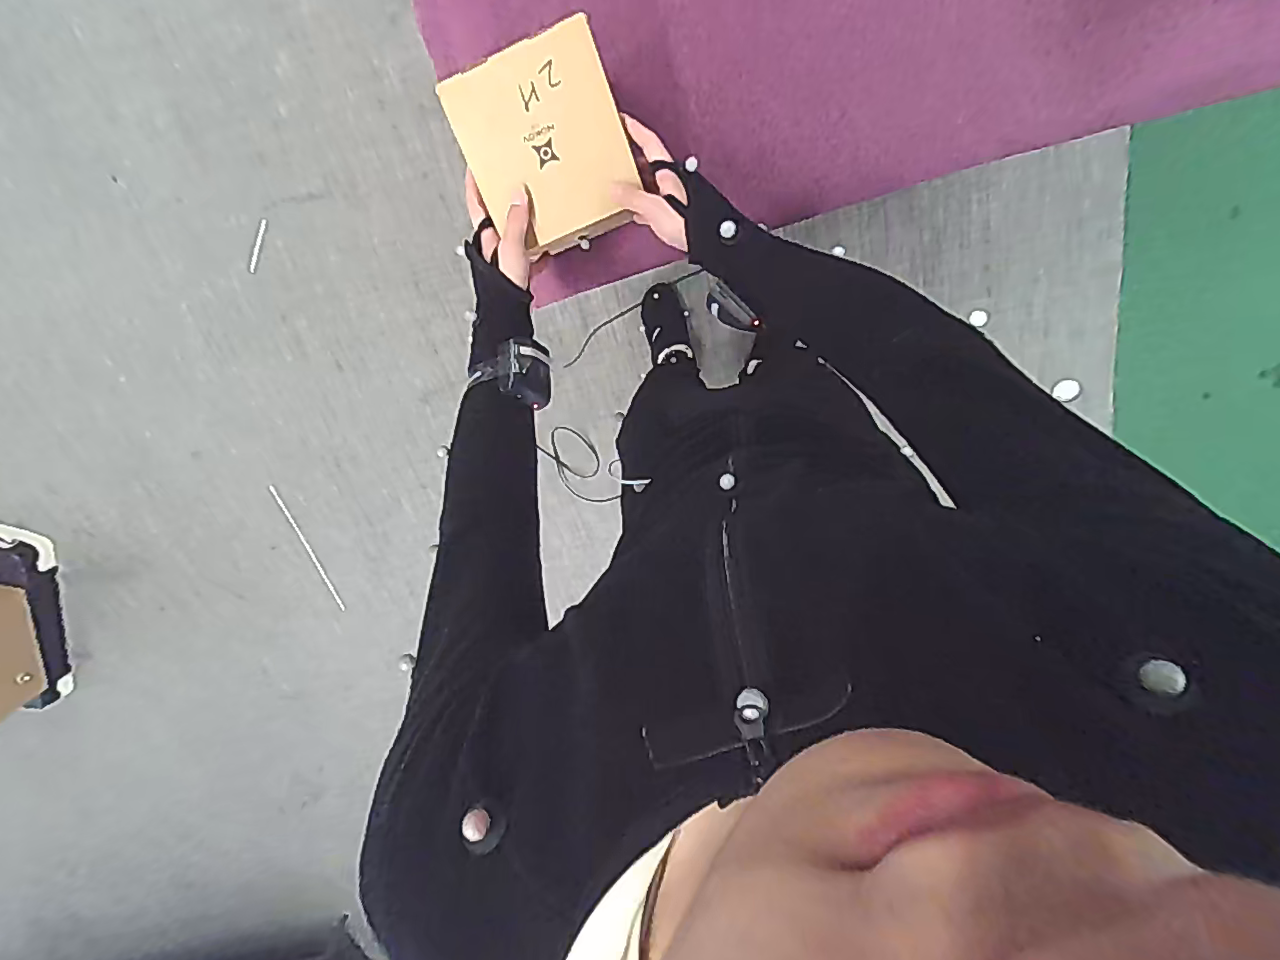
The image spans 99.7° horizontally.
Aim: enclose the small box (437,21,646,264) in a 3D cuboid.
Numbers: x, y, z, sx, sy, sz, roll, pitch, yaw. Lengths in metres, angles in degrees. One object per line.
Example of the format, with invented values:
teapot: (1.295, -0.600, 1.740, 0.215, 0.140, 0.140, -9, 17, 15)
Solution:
small box: (-0.095, -0.368, 0.628, 0.168, 0.176, 0.179, -19, 110, 9)
